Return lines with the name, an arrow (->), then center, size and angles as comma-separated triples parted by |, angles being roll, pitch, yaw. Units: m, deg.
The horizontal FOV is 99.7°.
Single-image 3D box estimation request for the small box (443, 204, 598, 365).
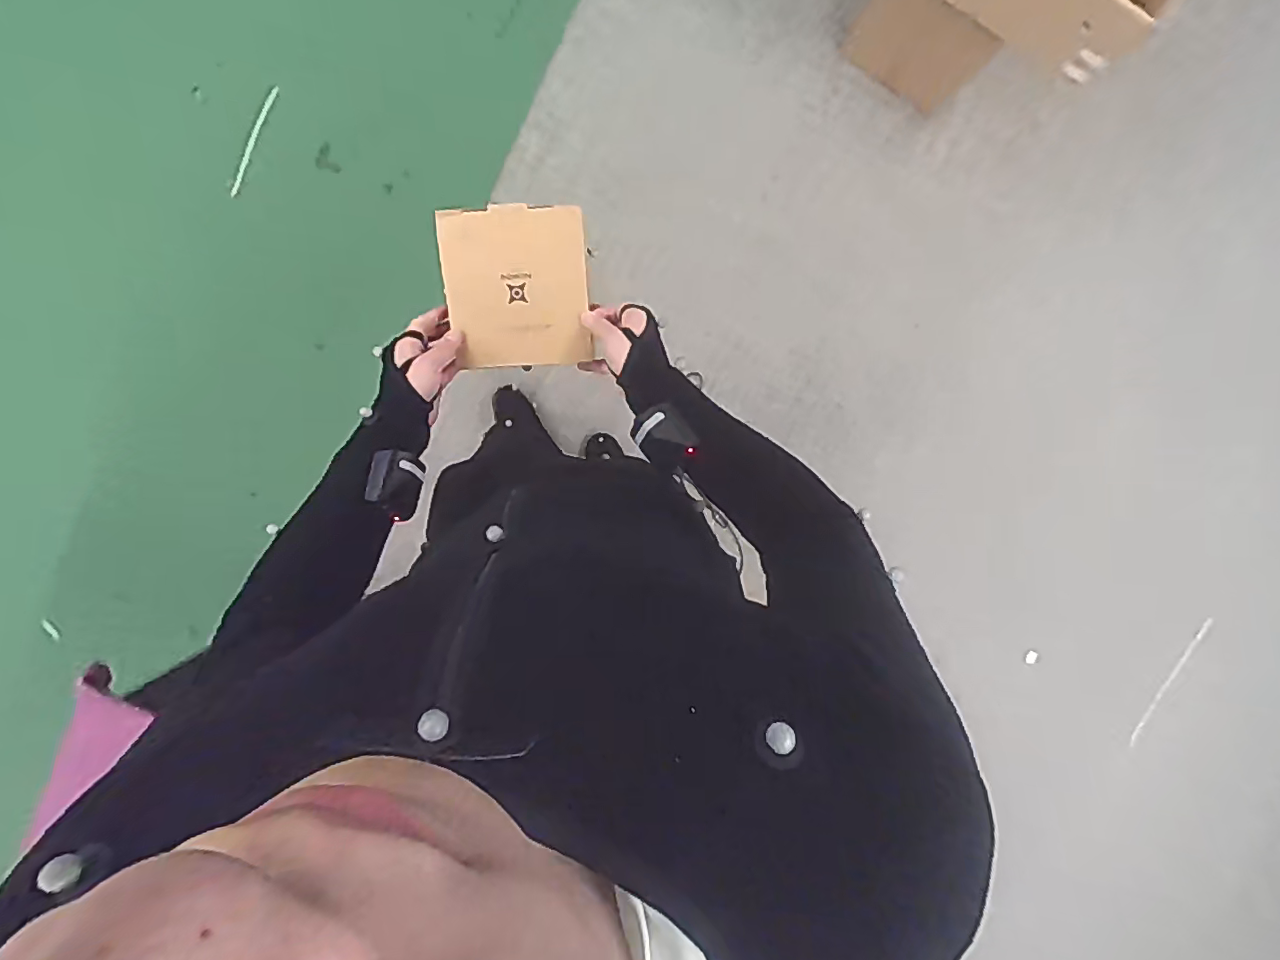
small box -> -0.141, -0.245, 0.702 | 0.168, 0.176, 0.179 | -2, 107, -1
